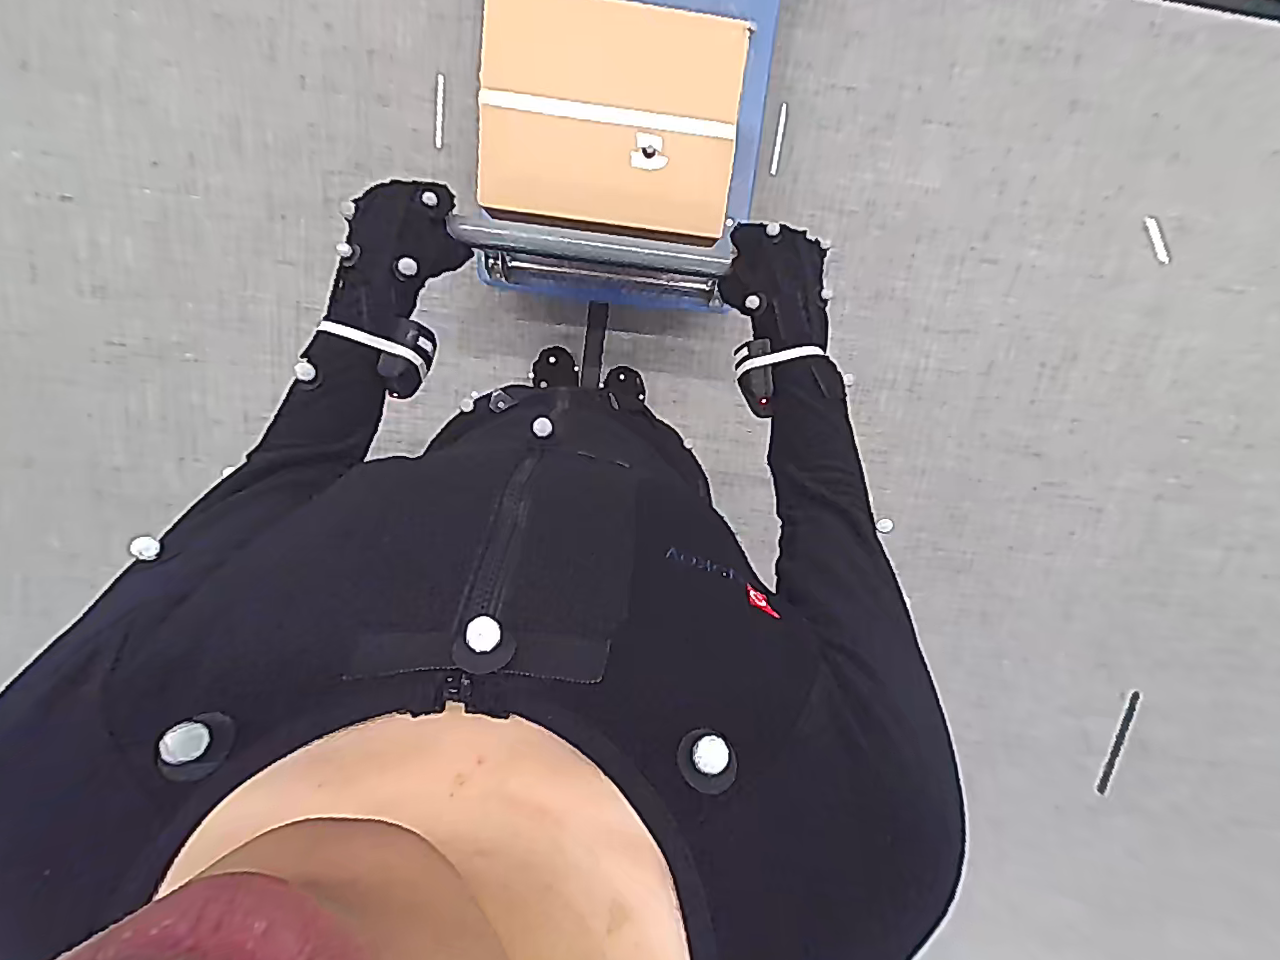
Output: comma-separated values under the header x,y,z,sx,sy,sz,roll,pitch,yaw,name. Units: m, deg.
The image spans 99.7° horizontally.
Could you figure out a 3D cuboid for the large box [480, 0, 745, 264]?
x,y,z,sx,sy,sz,roll,pitch,yaw,name
-0.059,-0.599,0.992,0.408,0.320,0.320,5,104,-5,large box
